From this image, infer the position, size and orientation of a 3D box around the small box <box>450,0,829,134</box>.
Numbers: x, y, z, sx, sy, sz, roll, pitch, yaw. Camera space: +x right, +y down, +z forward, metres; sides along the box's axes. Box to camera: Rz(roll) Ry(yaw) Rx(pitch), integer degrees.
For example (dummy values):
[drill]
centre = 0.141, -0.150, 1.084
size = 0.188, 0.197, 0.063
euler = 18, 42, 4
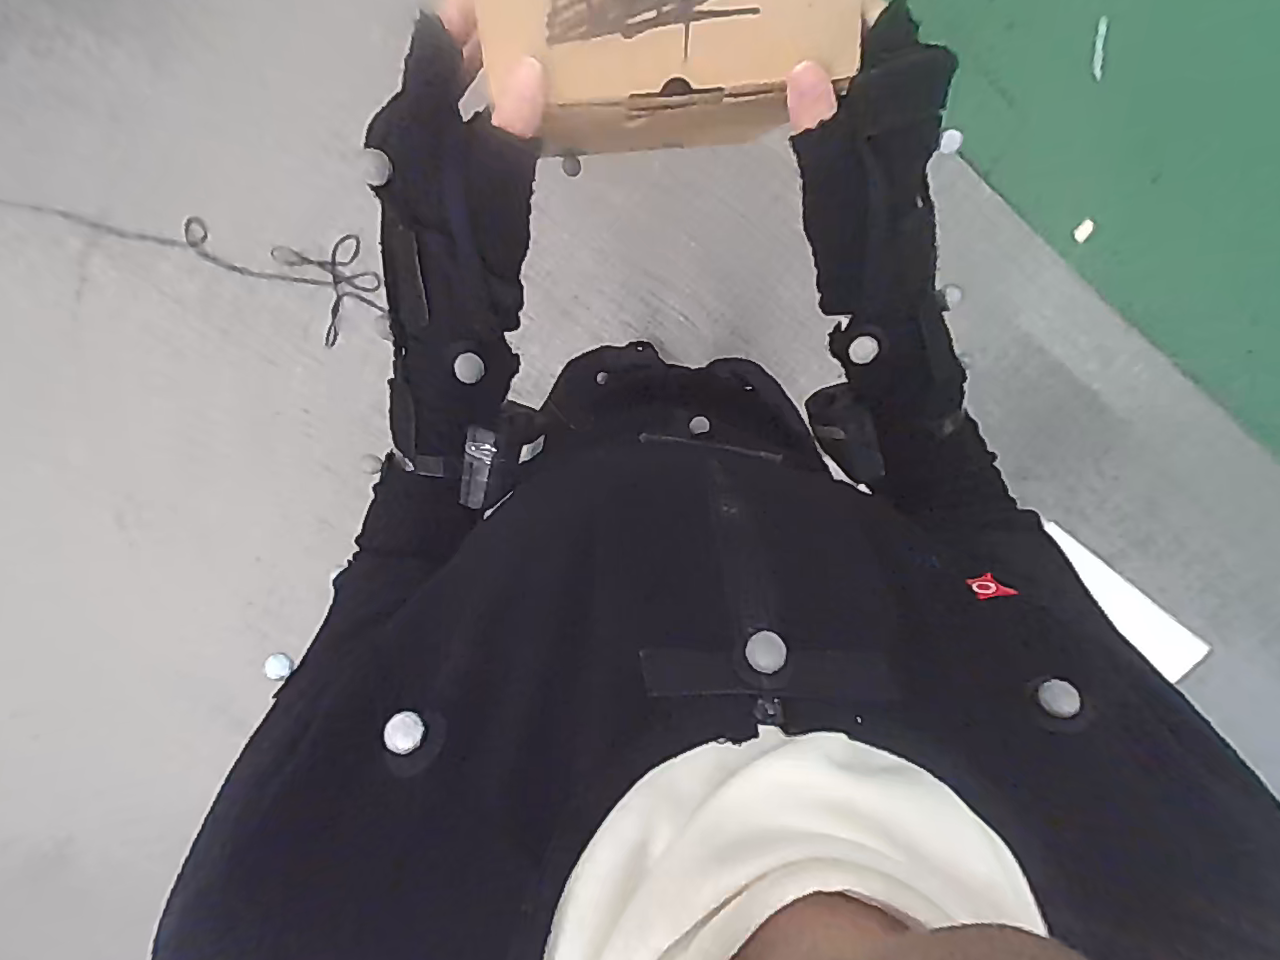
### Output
[small box]
centre = -0.010, -0.293, 0.278
size = 0.168, 0.176, 0.179
euler = -7, 113, -3
